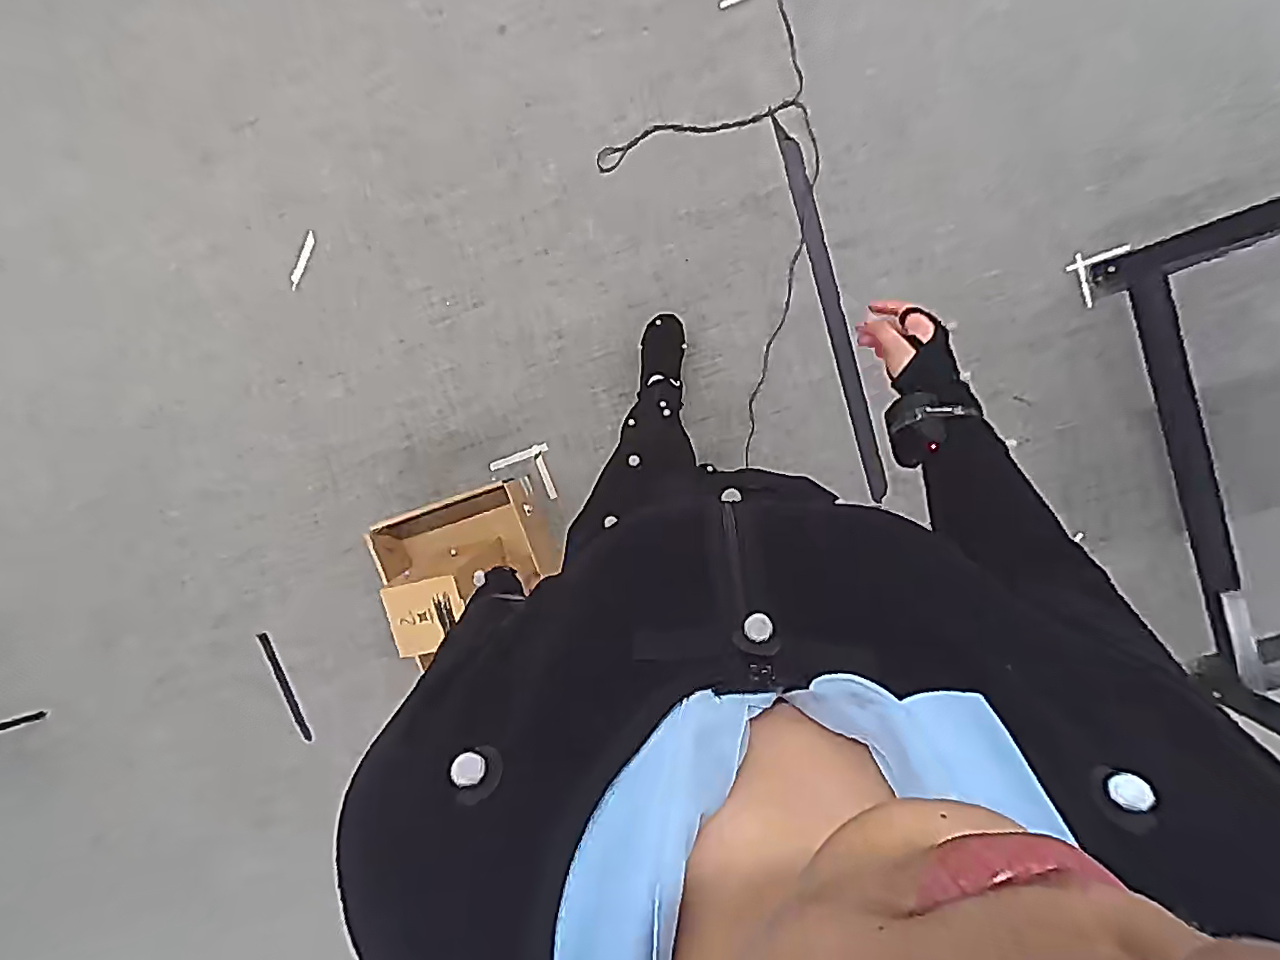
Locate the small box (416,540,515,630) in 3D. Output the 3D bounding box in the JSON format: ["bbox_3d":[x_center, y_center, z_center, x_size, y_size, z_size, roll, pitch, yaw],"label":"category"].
[{"bbox_3d":[-0.453,0.271,1.427,0.179,0.176,0.168,-14,98,4],"label":"small box"}]
